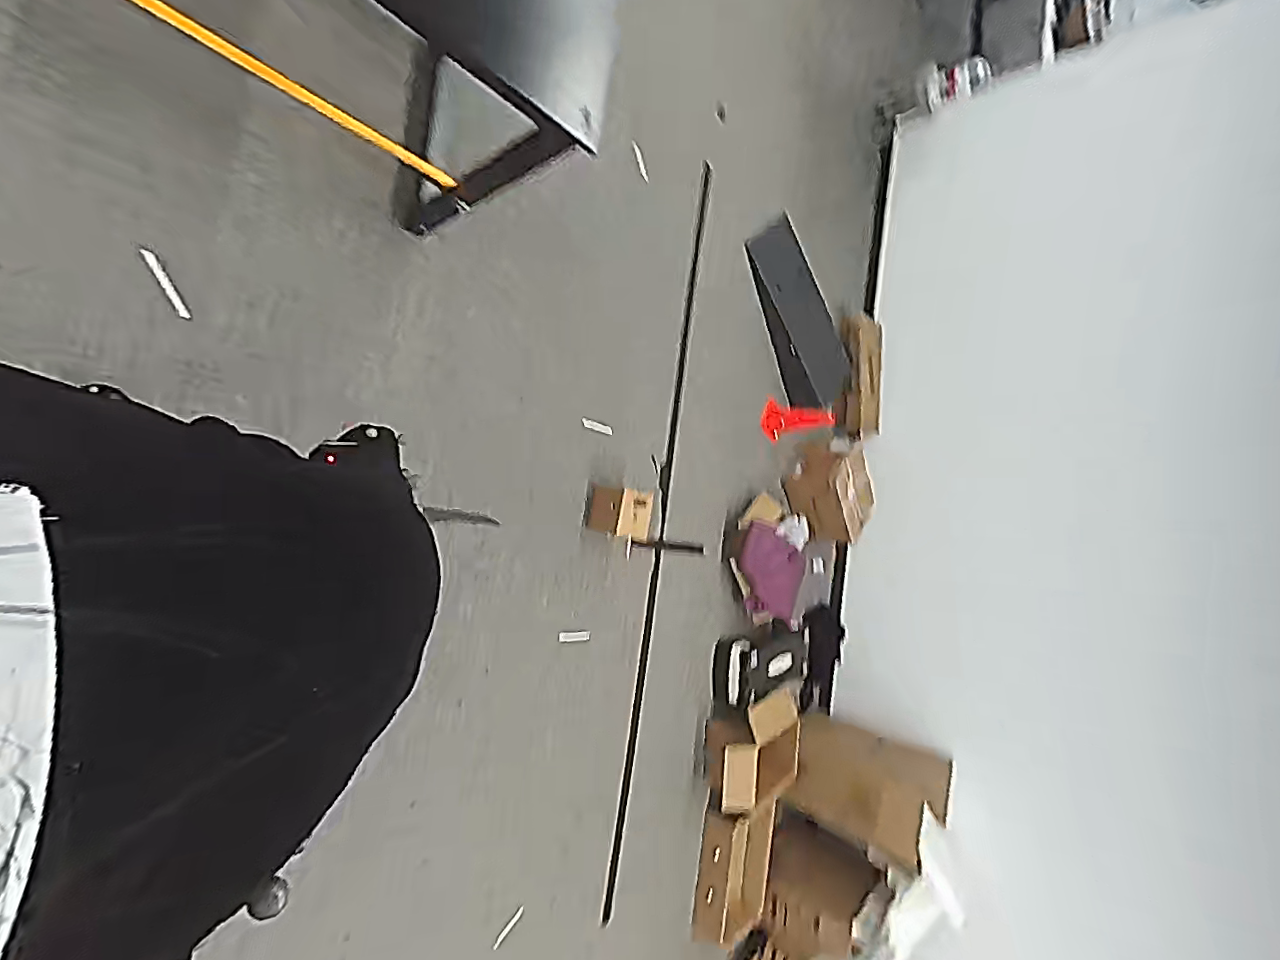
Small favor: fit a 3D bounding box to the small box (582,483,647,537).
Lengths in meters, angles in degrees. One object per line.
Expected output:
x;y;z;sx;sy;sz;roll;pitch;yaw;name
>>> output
-0.100;0.114;2.066;0.168;0.176;0.179;16;82;-47;small box
